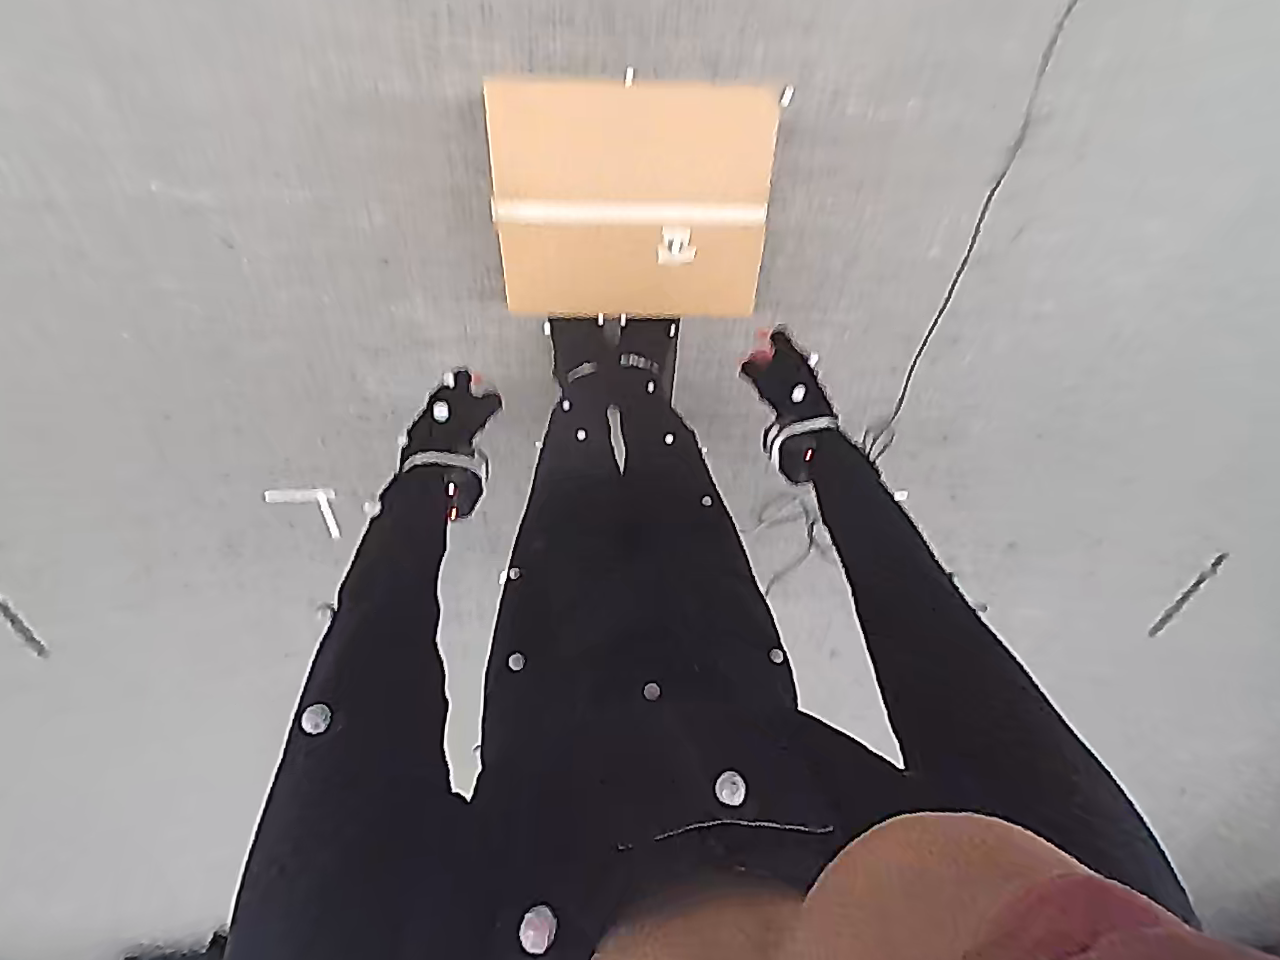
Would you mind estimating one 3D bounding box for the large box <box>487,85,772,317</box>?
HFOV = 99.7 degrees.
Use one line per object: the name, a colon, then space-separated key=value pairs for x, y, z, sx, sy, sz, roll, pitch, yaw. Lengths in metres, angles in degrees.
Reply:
large box: x=-0.025 y=-0.487 z=0.948 sx=0.408 sy=0.320 sz=0.320 roll=-2 pitch=124 yaw=-4
